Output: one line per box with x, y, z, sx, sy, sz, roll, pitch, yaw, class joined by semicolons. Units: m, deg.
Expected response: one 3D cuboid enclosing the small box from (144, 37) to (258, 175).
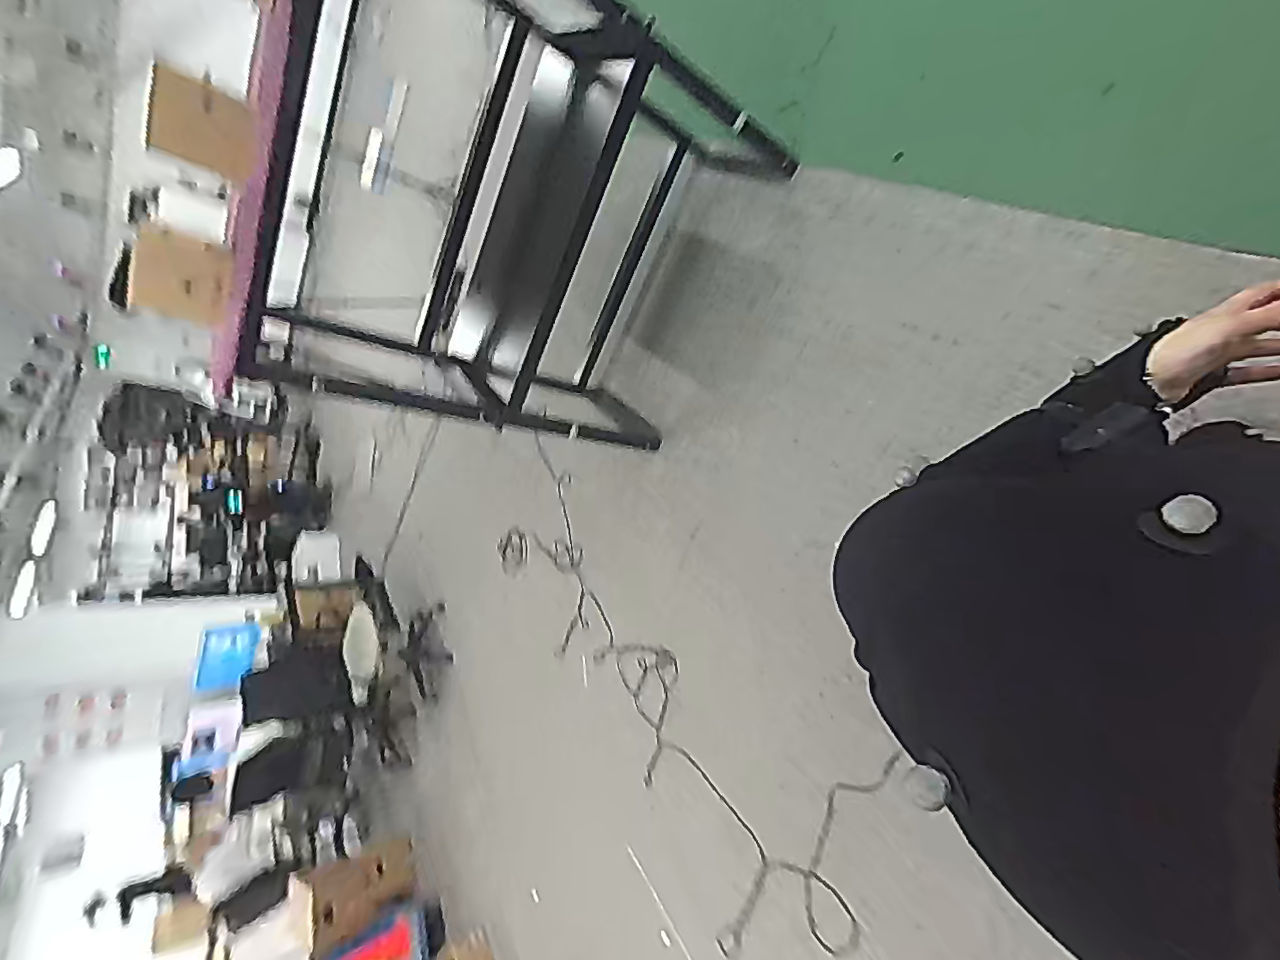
-0.910;-0.775;1.129;0.168;0.176;0.179;44;116;42;small box

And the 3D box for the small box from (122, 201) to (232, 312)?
-1.046;-0.500;1.227;0.179;0.176;0.168;44;114;41;small box
